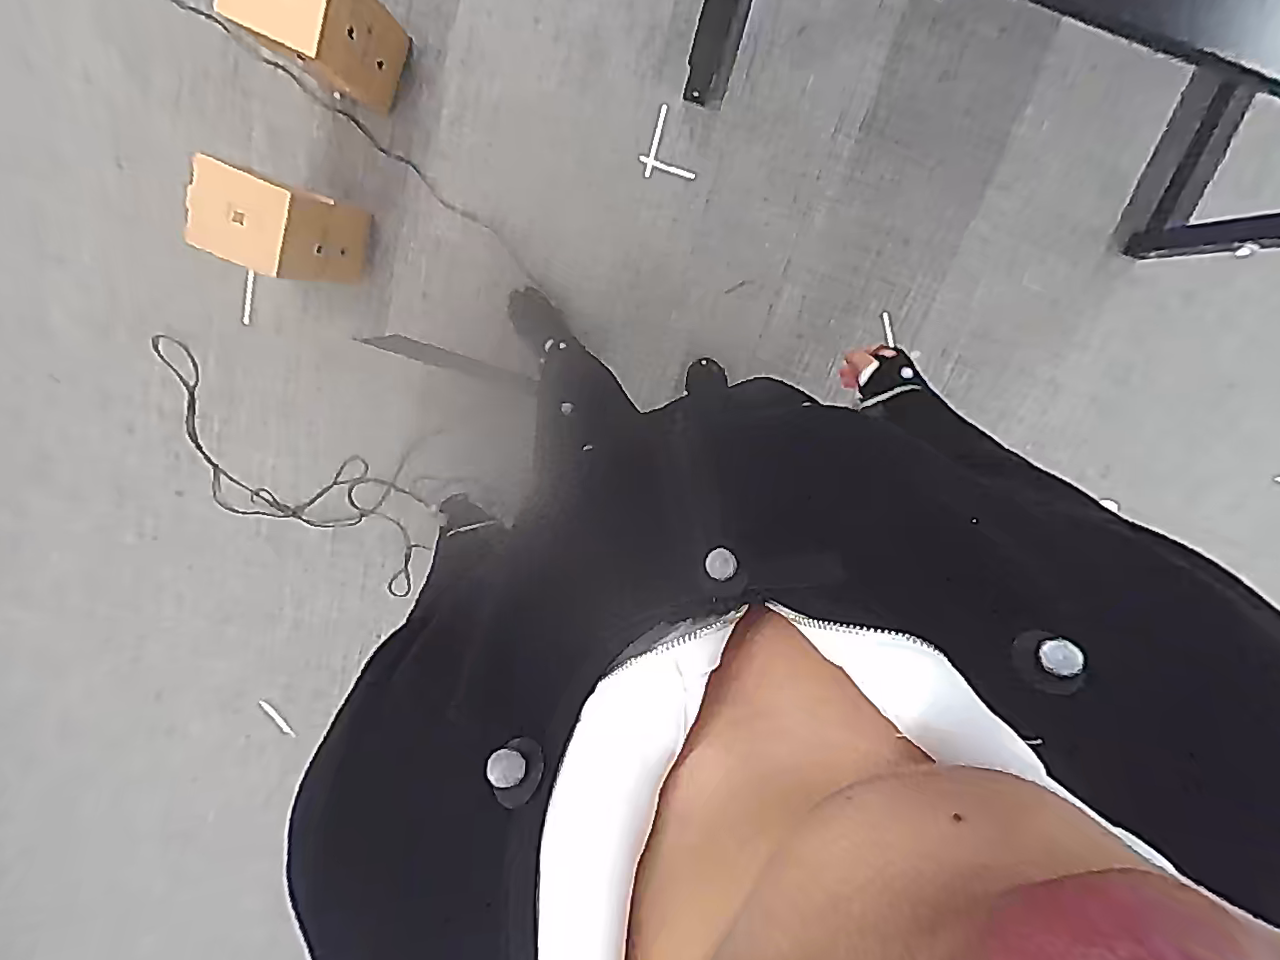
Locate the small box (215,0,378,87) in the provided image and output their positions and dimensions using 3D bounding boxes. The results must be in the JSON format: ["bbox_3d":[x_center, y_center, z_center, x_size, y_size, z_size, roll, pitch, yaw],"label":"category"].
[{"bbox_3d":[-0.605,-0.851,0.973,0.179,0.176,0.168,22,106,-7],"label":"small box"}]

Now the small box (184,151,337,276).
[{"bbox_3d":[-0.752,-0.519,1.084,0.179,0.176,0.168,21,108,-8],"label":"small box"}]

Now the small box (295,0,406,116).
[{"bbox_3d":[-0.614,-0.911,1.127,0.168,0.176,0.179,25,107,-8],"label":"small box"}]

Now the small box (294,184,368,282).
[{"bbox_3d":[-0.751,-0.566,1.242,0.168,0.176,0.179,17,108,-6],"label":"small box"}]
